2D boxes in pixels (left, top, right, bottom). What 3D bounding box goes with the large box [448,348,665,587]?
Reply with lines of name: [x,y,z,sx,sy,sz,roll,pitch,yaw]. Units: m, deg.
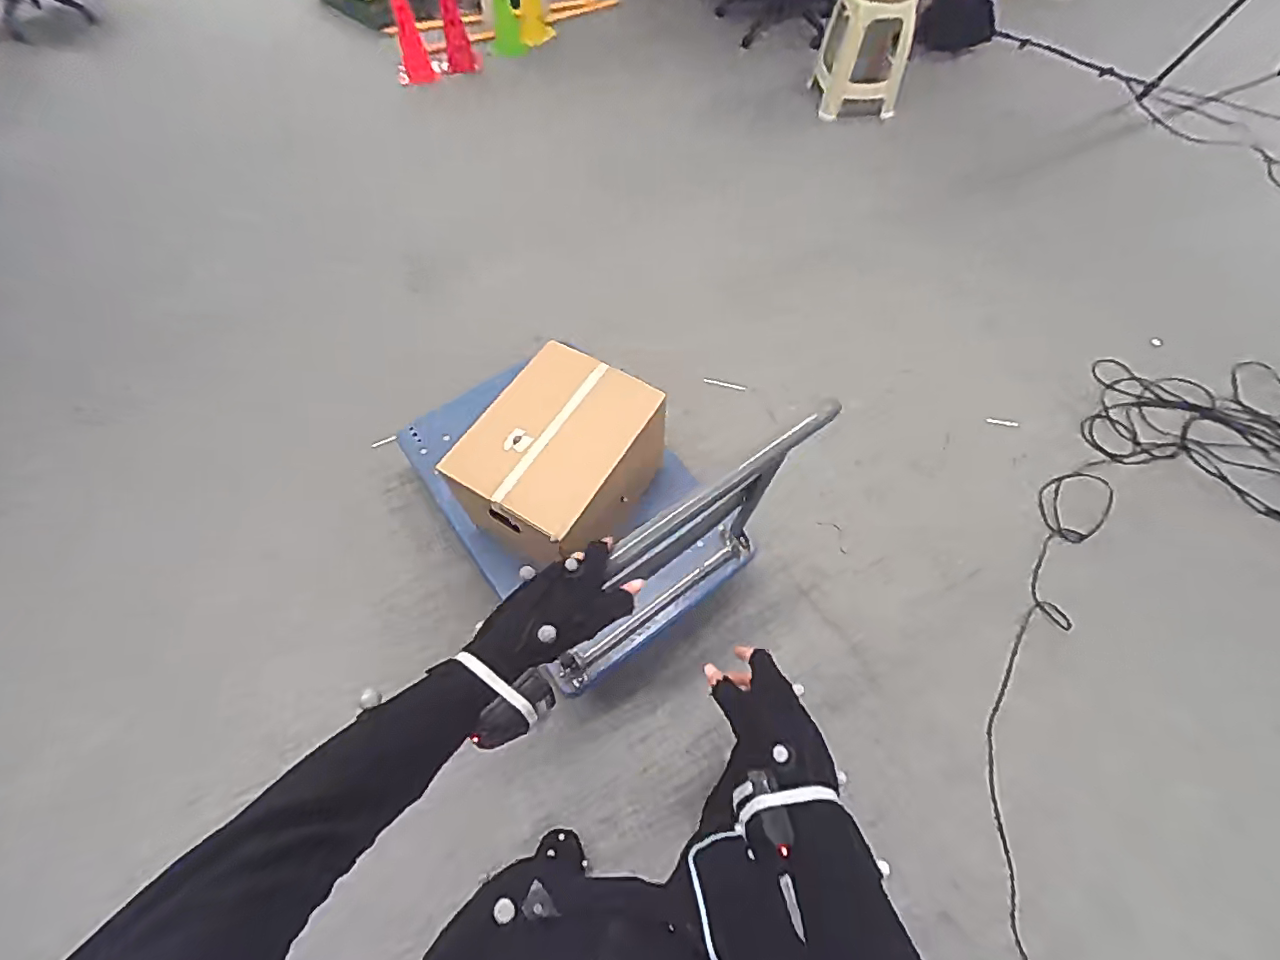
large box: [-0.167,-0.023,1.277,0.320,0.320,0.408,26,66,14]
